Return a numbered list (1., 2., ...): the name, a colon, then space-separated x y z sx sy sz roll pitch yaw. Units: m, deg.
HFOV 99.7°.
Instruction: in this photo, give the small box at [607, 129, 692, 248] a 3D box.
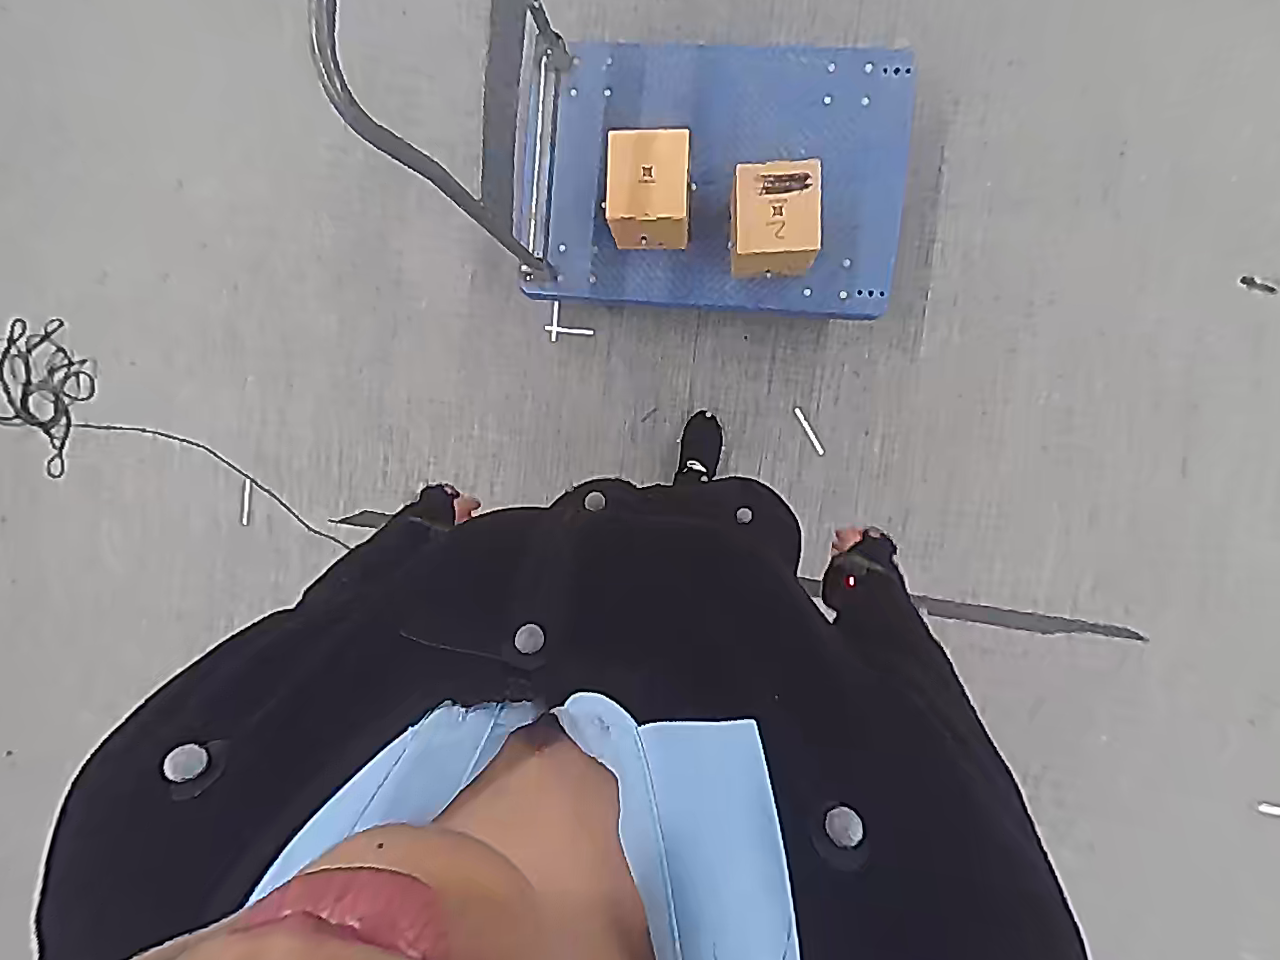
1. small box: 0.024 -0.622 1.168 0.168 0.176 0.179 2 94 5
